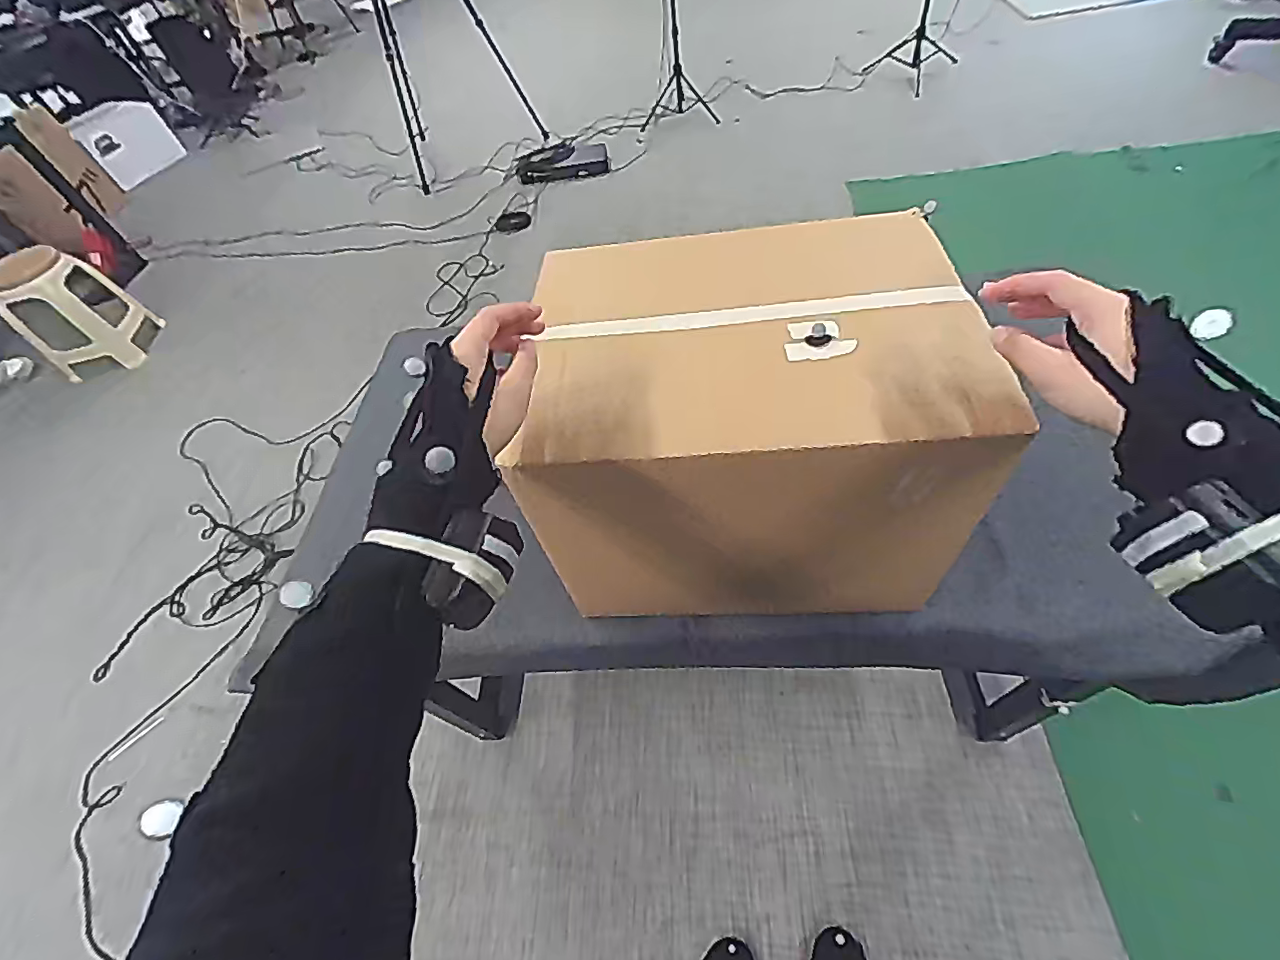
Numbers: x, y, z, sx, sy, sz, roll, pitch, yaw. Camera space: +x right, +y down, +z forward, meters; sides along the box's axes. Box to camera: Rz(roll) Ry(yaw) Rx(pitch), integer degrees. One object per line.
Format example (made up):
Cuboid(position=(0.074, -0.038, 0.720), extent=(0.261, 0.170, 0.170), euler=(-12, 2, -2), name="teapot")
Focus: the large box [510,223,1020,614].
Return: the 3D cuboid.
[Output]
Cuboid(position=(0.108, -0.054, 0.627), extent=(0.408, 0.320, 0.320), euler=(-3, 53, 7), name="large box")
